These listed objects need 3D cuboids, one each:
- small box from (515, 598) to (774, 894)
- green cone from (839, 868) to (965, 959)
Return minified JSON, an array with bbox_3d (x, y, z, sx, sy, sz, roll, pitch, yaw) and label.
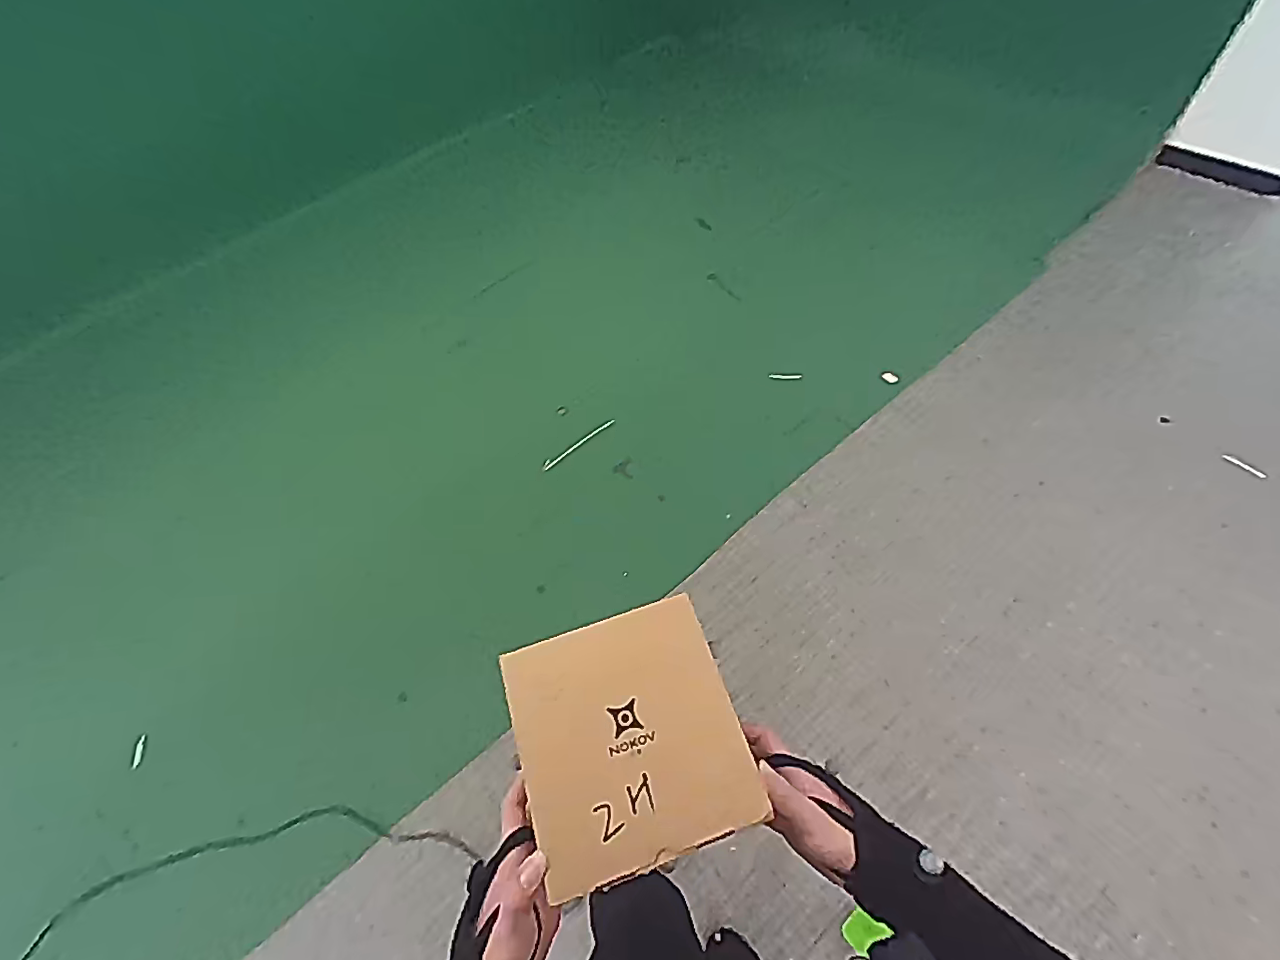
[{"bbox_3d":[-0.003,0.233,0.488,0.168,0.176,0.179,-15,61,-7],"label":"small box"},{"bbox_3d":[0.545,0.914,1.032,0.202,0.368,0.200,-37,60,-14],"label":"green cone"}]
